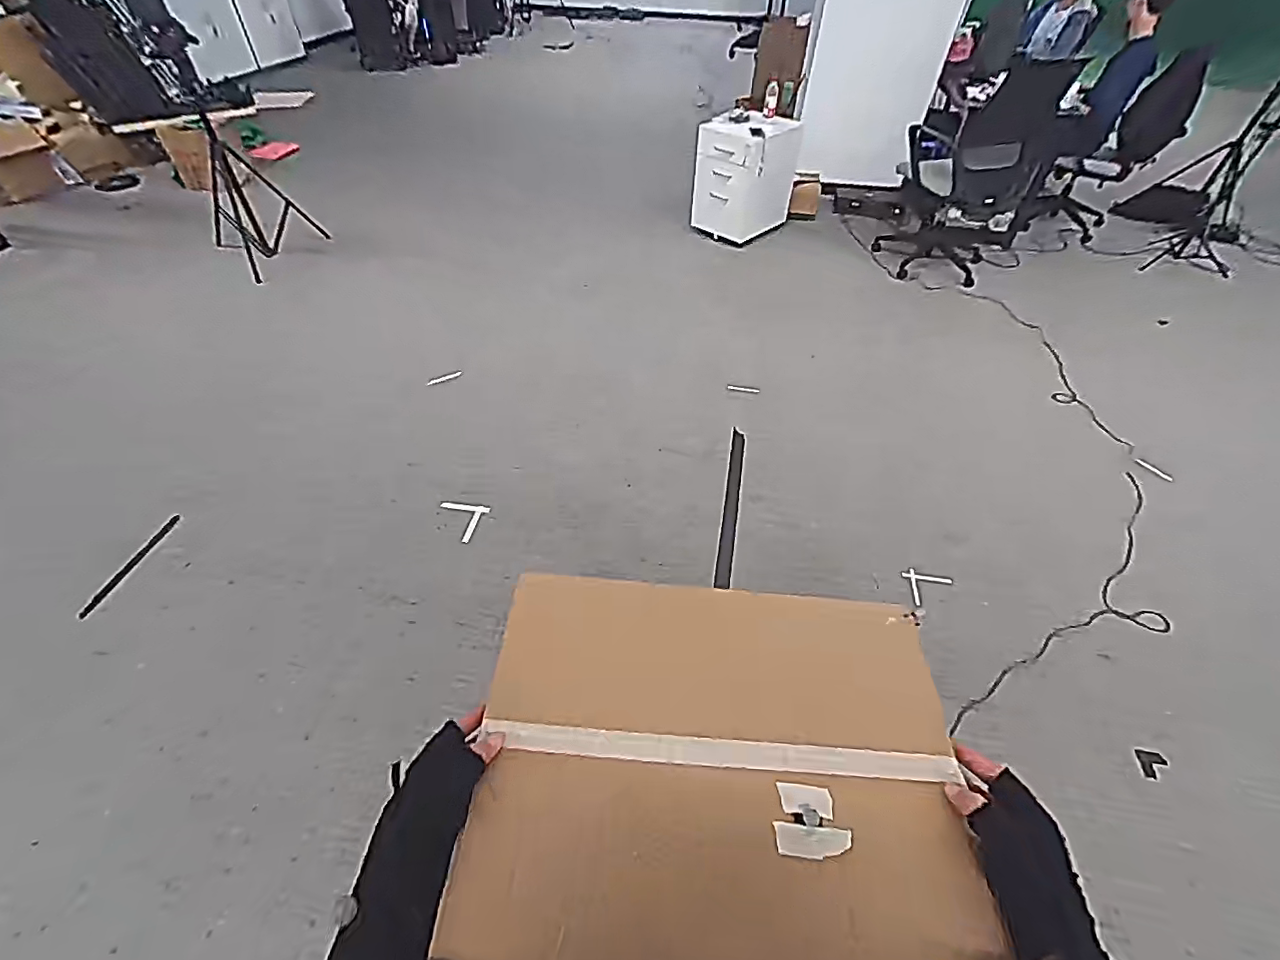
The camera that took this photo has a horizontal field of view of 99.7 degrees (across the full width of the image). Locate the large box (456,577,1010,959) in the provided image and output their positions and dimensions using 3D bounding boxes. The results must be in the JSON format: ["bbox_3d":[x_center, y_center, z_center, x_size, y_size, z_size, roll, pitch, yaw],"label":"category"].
[{"bbox_3d":[0.065,0.328,0.582,0.408,0.320,0.320,5,50,0],"label":"large box"}]
